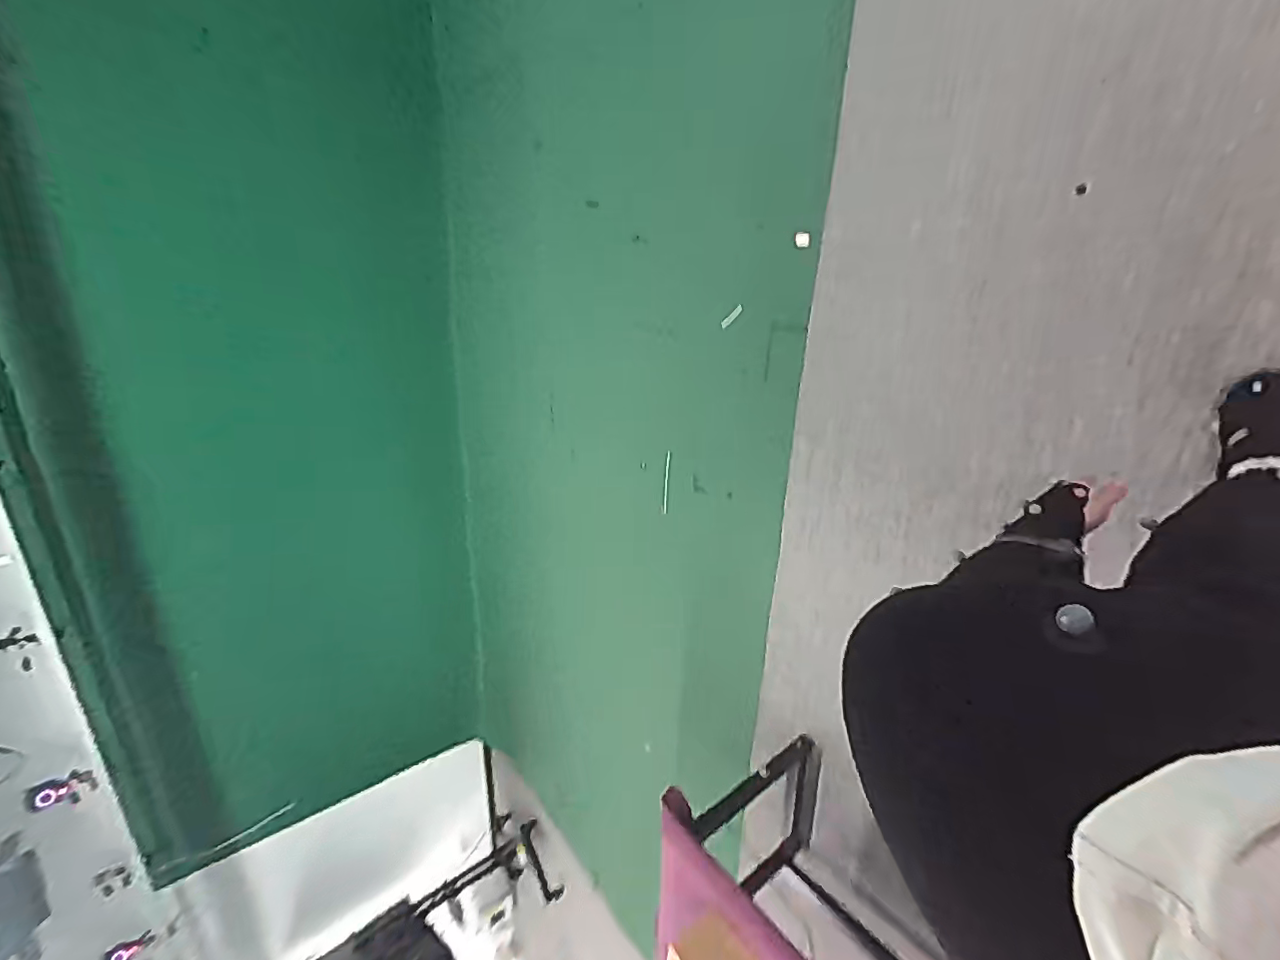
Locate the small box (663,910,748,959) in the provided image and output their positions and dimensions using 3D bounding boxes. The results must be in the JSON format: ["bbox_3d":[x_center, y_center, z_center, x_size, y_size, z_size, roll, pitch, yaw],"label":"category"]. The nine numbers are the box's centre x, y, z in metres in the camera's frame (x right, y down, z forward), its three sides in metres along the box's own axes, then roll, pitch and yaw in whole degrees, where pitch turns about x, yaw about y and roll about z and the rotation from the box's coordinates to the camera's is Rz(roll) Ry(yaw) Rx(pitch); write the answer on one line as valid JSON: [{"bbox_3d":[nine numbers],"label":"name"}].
[{"bbox_3d":[0.178,1.329,1.458,0.179,0.176,0.168,29,123,43],"label":"small box"}]
